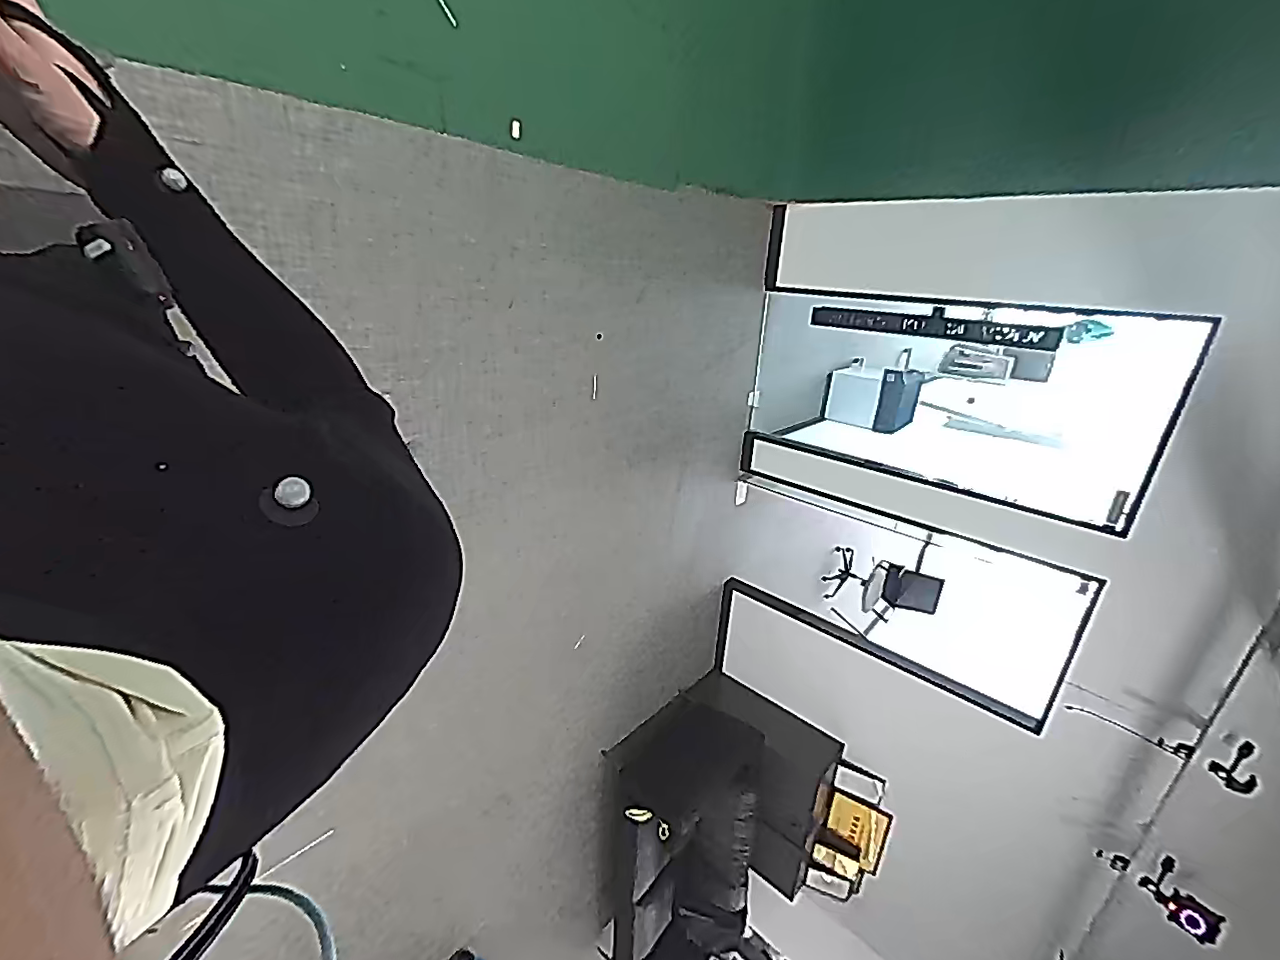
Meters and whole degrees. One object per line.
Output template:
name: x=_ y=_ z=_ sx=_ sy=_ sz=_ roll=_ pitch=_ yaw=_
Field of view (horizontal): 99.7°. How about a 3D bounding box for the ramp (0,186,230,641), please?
ramp: x=-1.288 y=-0.103 z=1.200 sx=0.509 sy=0.206 sz=0.991 roll=-23 pitch=124 yaw=-44
